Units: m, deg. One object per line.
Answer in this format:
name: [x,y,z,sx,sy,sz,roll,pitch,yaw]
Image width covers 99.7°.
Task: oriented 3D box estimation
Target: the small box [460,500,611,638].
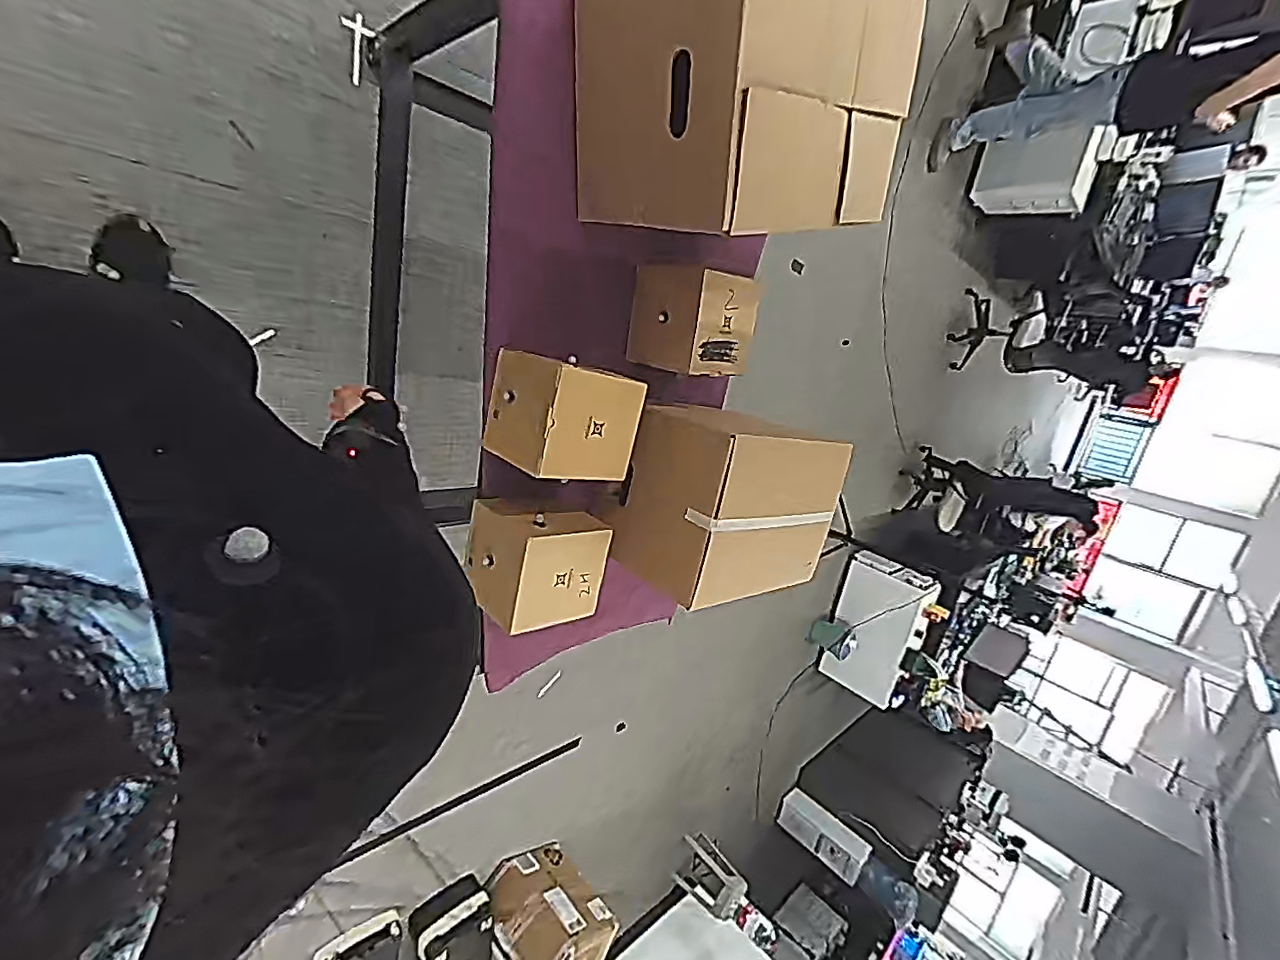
small box: [-0.182,0.139,0.919,0.179,0.176,0.168,0,109,-47]
